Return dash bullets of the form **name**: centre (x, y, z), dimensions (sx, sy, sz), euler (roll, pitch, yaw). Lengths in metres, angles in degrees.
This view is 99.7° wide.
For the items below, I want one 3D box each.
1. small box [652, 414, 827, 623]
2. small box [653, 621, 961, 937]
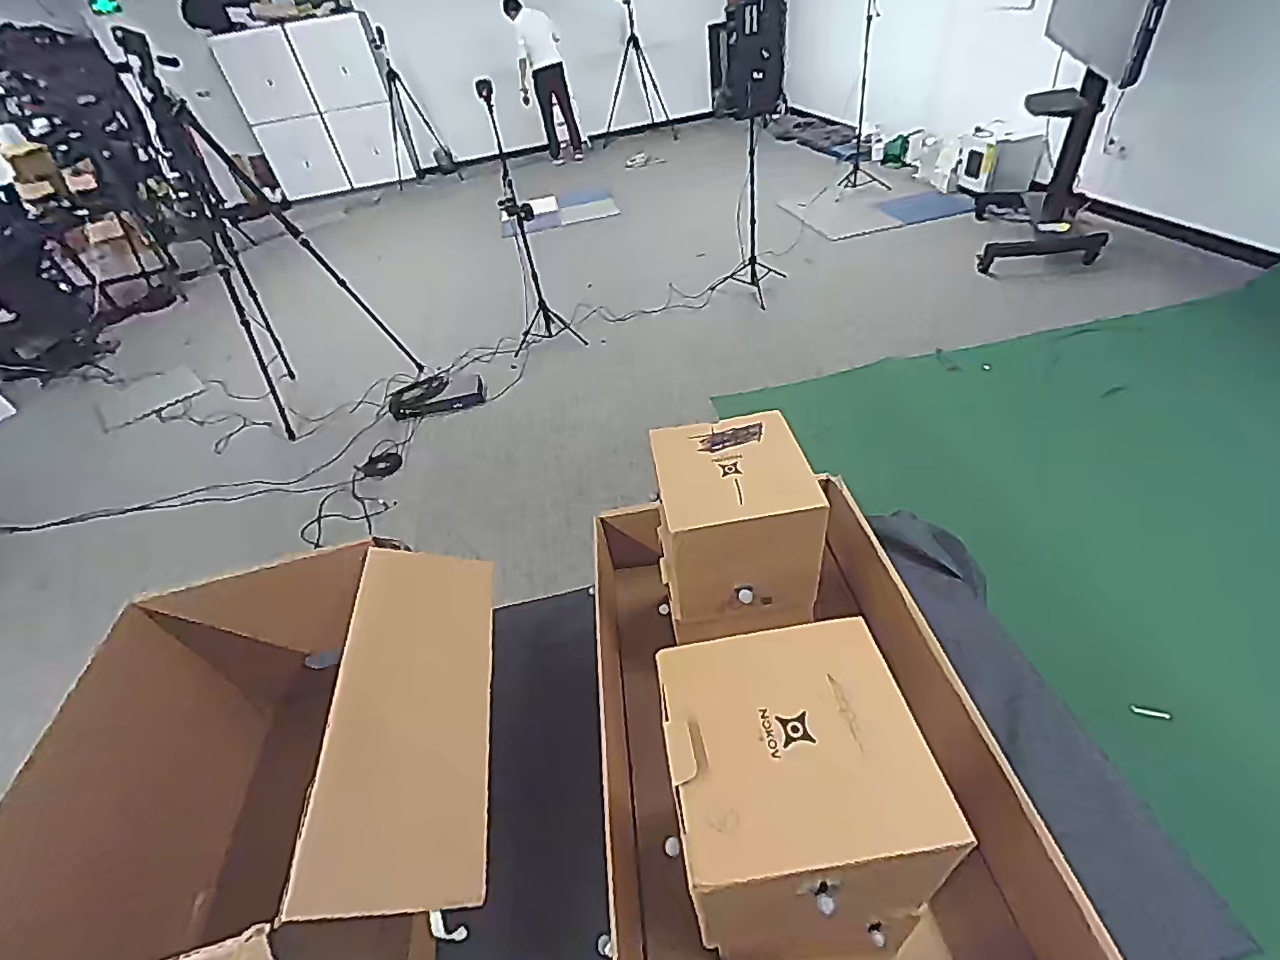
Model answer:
- **small box**: centre (0.109, 0.046, 0.658), dimensions (0.168, 0.176, 0.179), euler (-9, 42, 1)
- **small box**: centre (0.114, 0.243, 0.440), dimensions (0.179, 0.176, 0.168), euler (-9, 41, -1)
